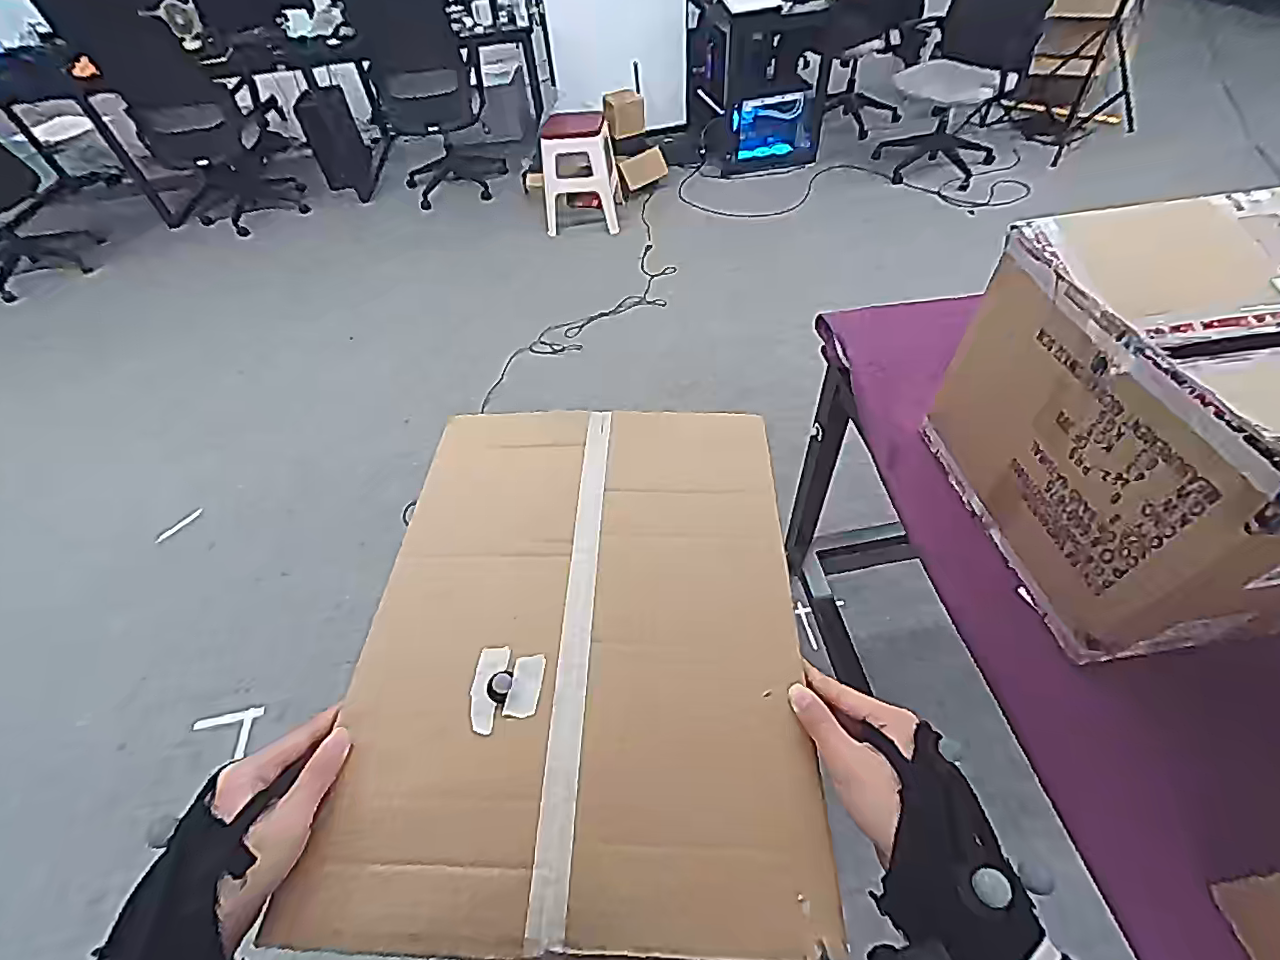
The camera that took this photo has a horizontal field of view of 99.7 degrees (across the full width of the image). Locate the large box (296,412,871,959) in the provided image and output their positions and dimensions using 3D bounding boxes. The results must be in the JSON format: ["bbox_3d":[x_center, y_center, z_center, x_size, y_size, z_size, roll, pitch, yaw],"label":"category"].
[{"bbox_3d":[-0.027,0.183,0.520,0.320,0.320,0.408,-1,51,3],"label":"large box"}]
